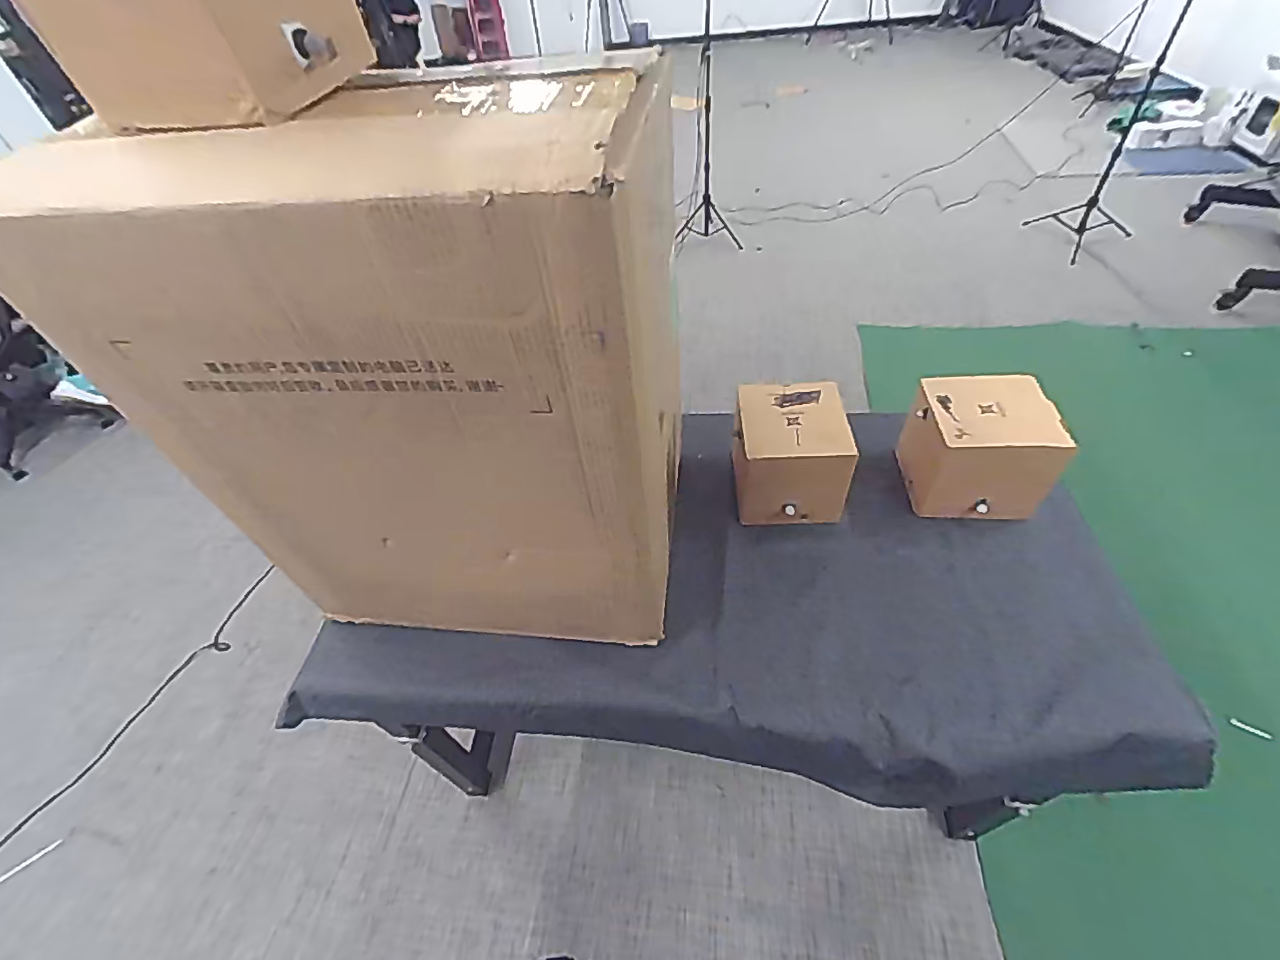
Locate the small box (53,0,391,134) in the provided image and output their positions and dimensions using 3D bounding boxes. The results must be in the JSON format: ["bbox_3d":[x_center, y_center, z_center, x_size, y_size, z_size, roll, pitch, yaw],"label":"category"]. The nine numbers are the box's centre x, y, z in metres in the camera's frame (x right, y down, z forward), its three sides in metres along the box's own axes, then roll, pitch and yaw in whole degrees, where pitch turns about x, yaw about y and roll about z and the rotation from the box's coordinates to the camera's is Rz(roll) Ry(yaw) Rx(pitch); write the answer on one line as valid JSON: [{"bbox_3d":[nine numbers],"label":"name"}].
[{"bbox_3d":[-0.348,-0.406,0.442,0.179,0.176,0.168,8,54,10],"label":"small box"}]

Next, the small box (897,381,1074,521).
[{"bbox_3d":[0.554,-0.045,0.897,0.179,0.176,0.168,1,47,7],"label":"small box"}]
